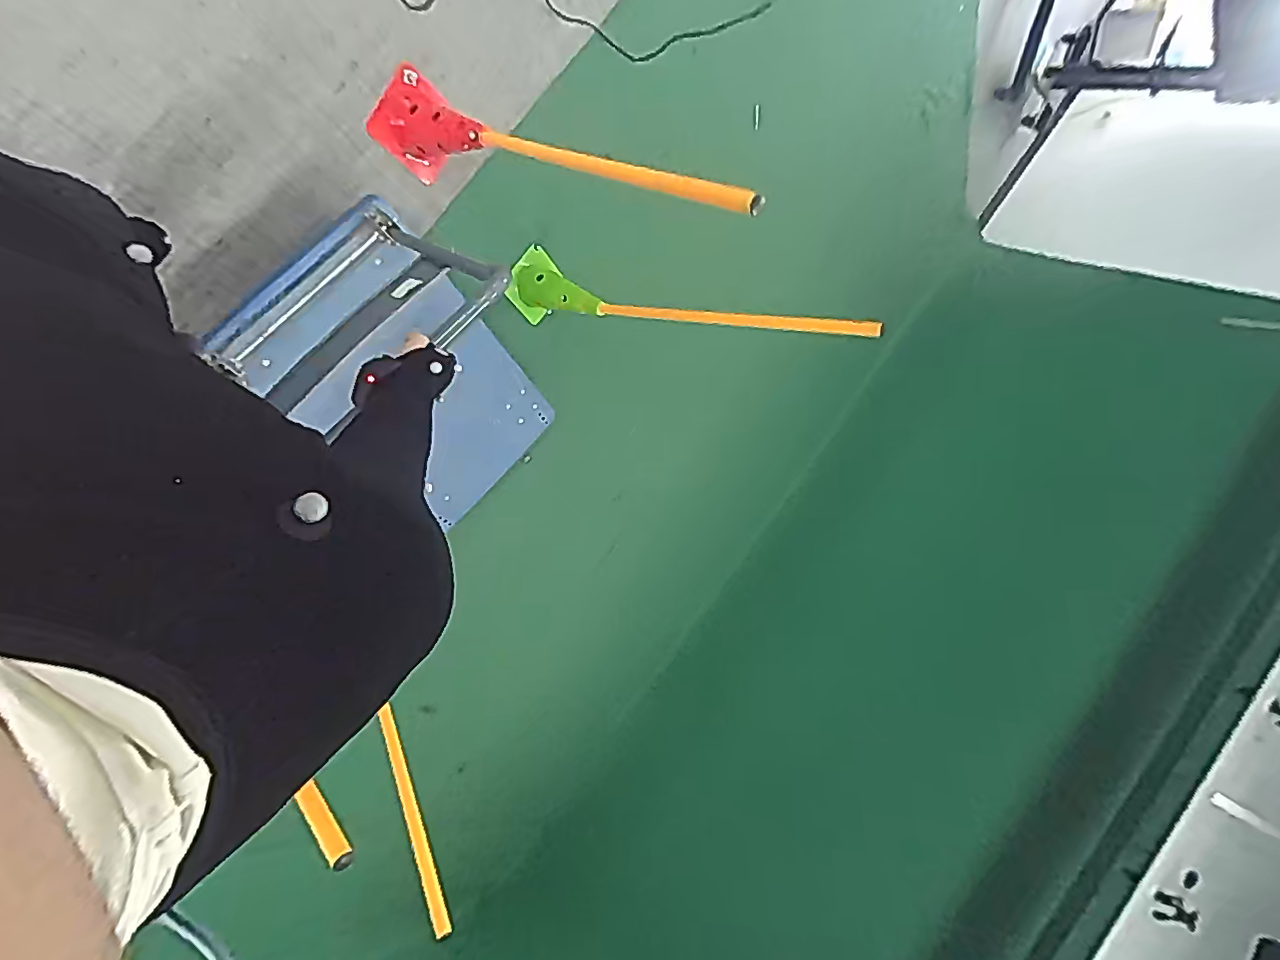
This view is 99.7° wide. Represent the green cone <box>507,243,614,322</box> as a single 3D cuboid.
[{"bbox_3d":[-0.218,-0.584,1.716,0.200,0.368,0.202,-54,145,-5],"label":"green cone"}]
